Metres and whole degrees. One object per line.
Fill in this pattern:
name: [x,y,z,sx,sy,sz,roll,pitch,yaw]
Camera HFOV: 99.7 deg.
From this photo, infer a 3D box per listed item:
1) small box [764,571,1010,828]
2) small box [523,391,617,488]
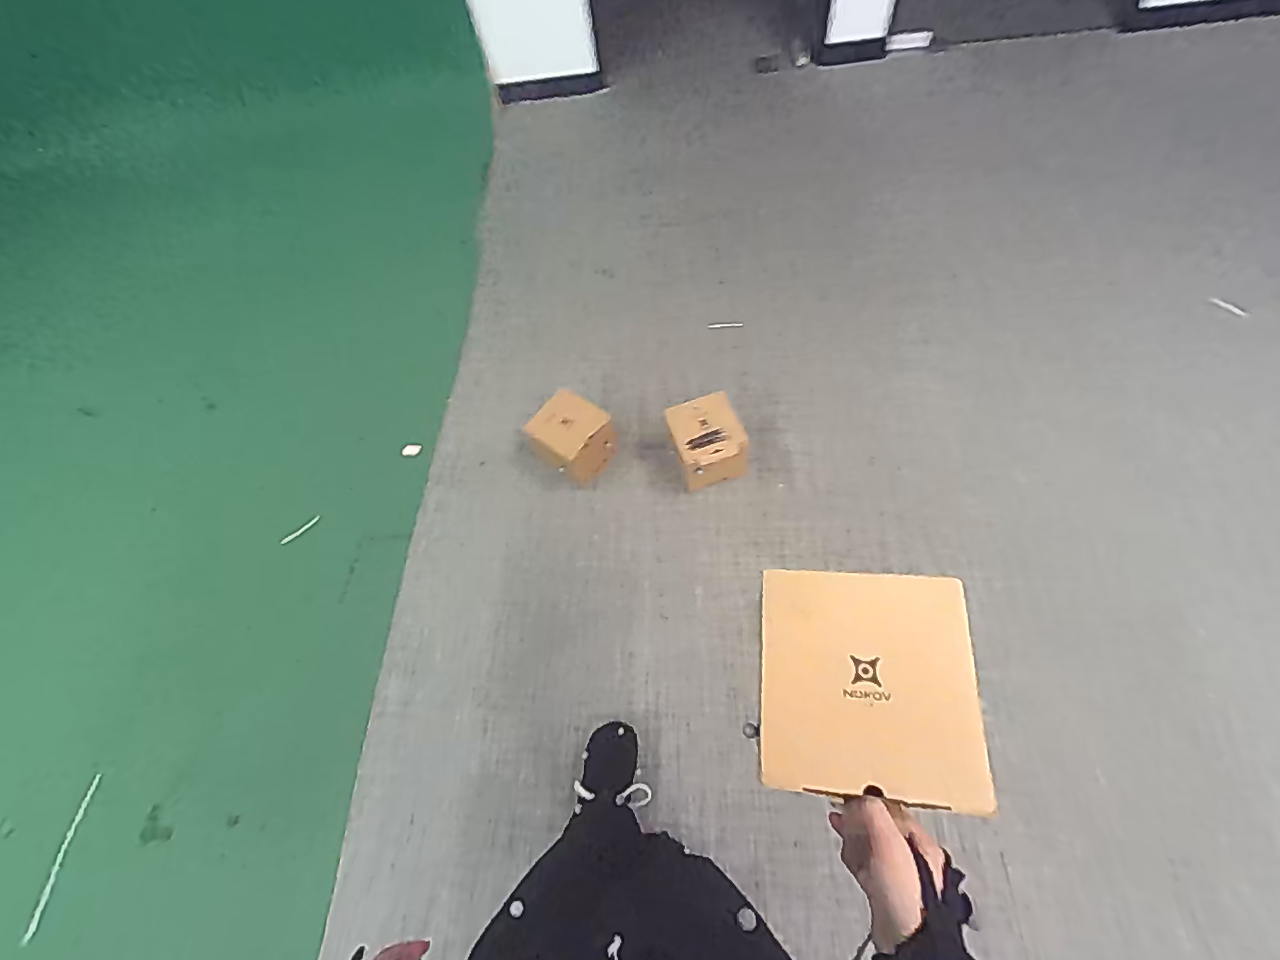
small box: [0.203,0.198,0.499,0.168,0.176,0.179,2,64,13]
small box: [-0.182,-0.102,1.469,0.179,0.176,0.168,32,69,22]
